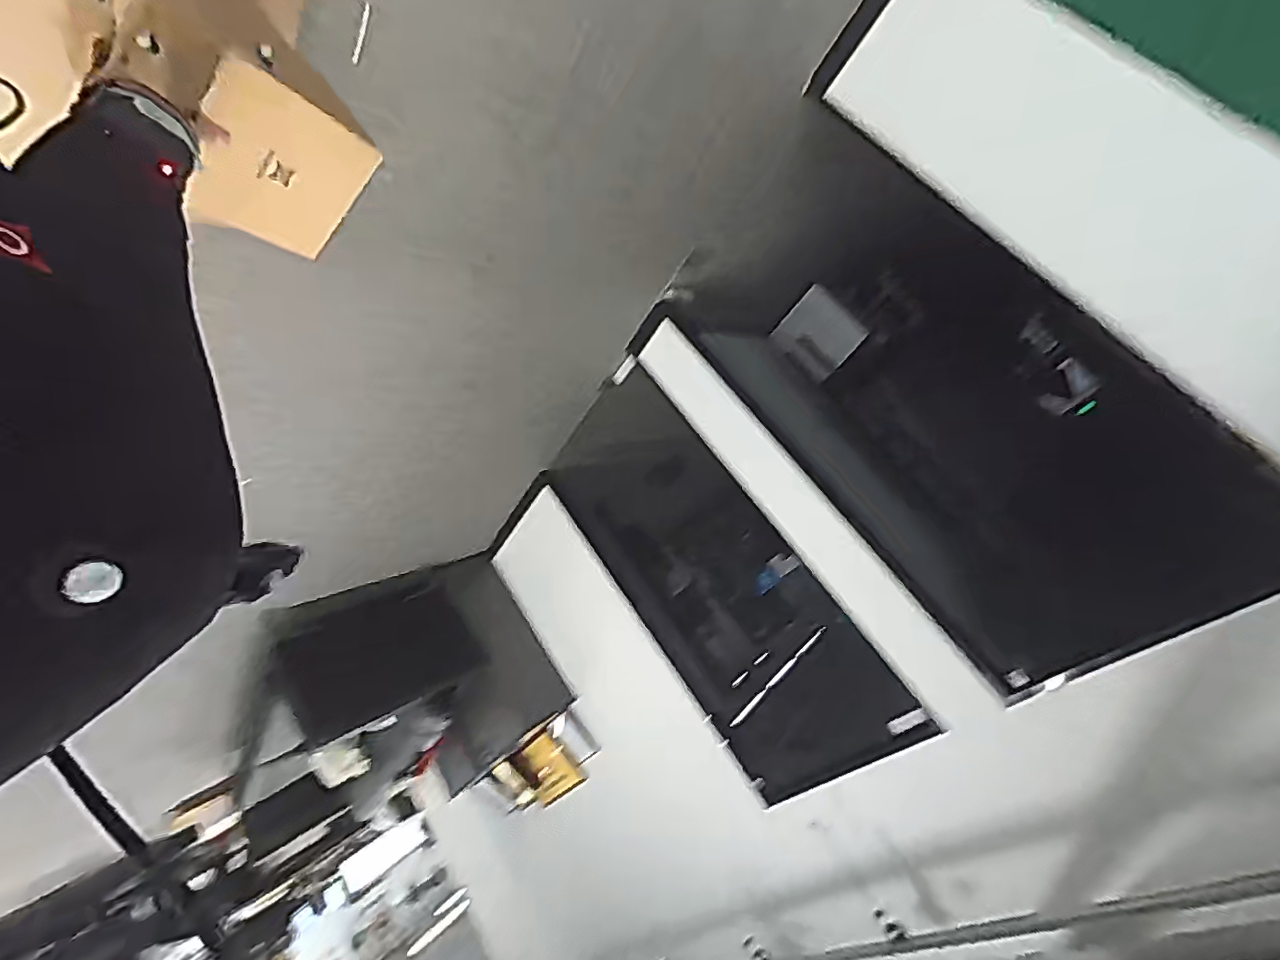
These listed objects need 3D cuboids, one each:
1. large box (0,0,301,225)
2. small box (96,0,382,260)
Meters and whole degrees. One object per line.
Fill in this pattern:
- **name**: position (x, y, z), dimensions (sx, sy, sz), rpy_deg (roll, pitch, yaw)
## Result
- **large box**: position (-0.738, -0.652, 0.766), dimensions (0.320, 0.320, 0.408), rpy_deg (-13, 152, -50)
- **small box**: position (-0.444, -0.395, 0.609), dimensions (0.168, 0.176, 0.179), rpy_deg (-42, 165, 16)
